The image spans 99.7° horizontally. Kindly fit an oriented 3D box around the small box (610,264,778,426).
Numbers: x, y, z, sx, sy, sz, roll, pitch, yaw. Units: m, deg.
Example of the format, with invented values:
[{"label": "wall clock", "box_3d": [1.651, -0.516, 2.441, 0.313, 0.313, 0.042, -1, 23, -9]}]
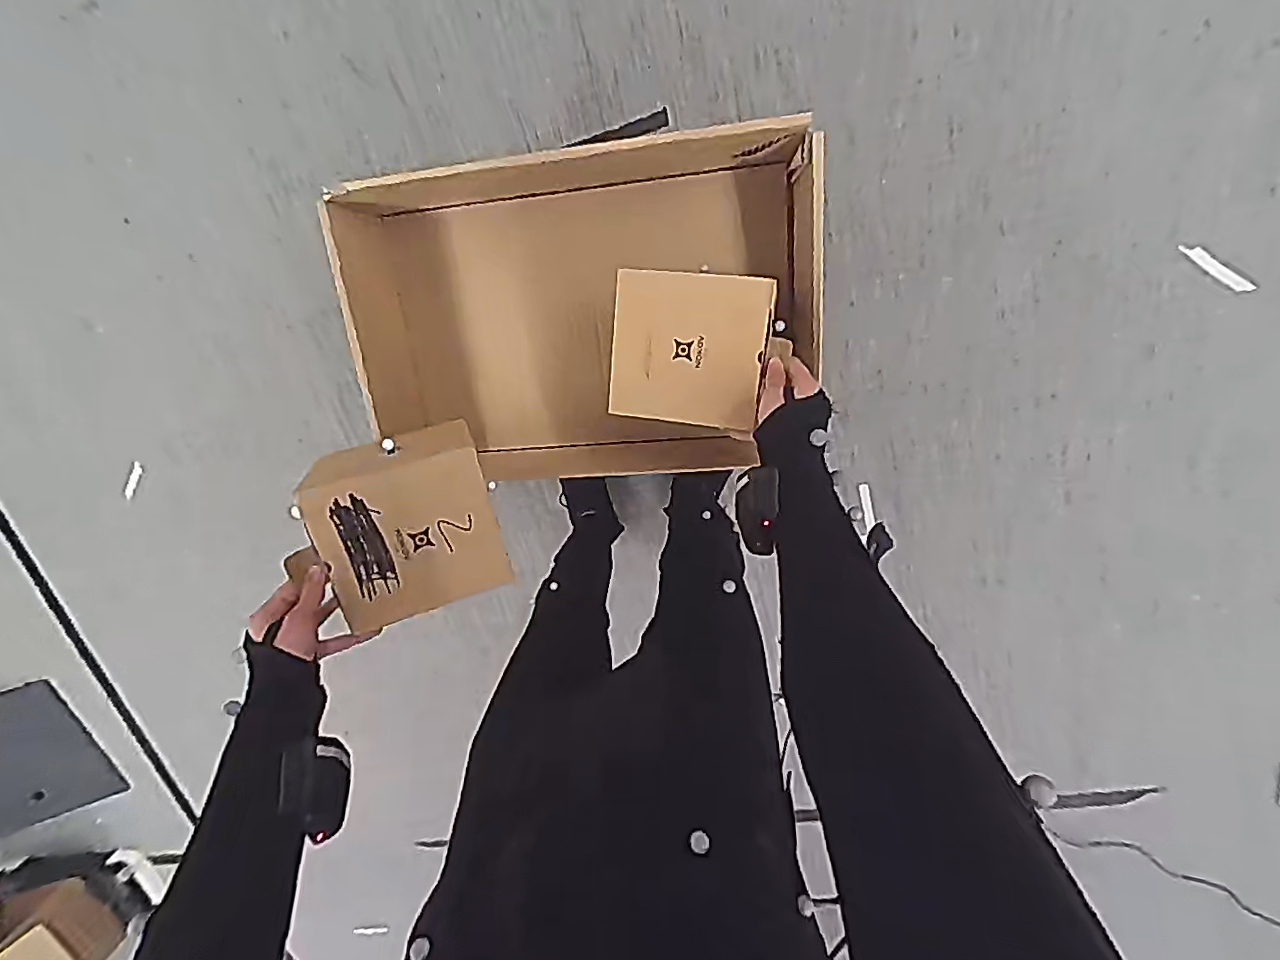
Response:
[{"label": "small box", "box_3d": [0.072, -0.171, 0.683, 0.179, 0.176, 0.168, 8, 105, 12]}]
